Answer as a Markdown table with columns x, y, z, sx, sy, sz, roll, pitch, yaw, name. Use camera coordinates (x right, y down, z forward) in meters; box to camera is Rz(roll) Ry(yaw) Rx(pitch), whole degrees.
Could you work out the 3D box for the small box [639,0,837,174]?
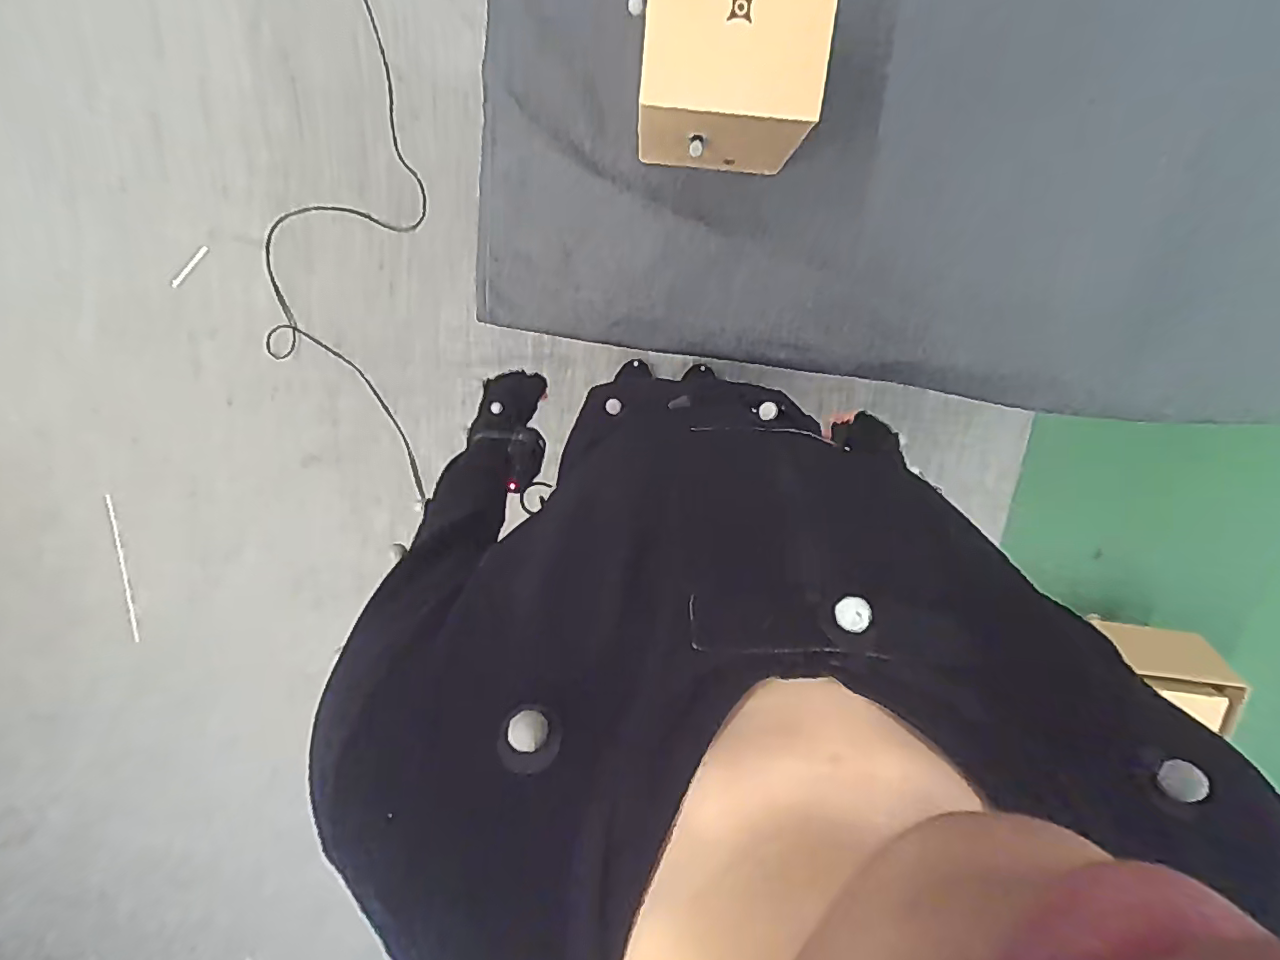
| x | y | z | sx | sy | sz | roll | pitch | yaw | name |
| --- | --- | --- | --- | --- | --- | --- | --- | --- | --- |
| 0.090 | -0.429 | 0.543 | 0.168 | 0.176 | 0.179 | 5 | 103 | 0 | small box |
